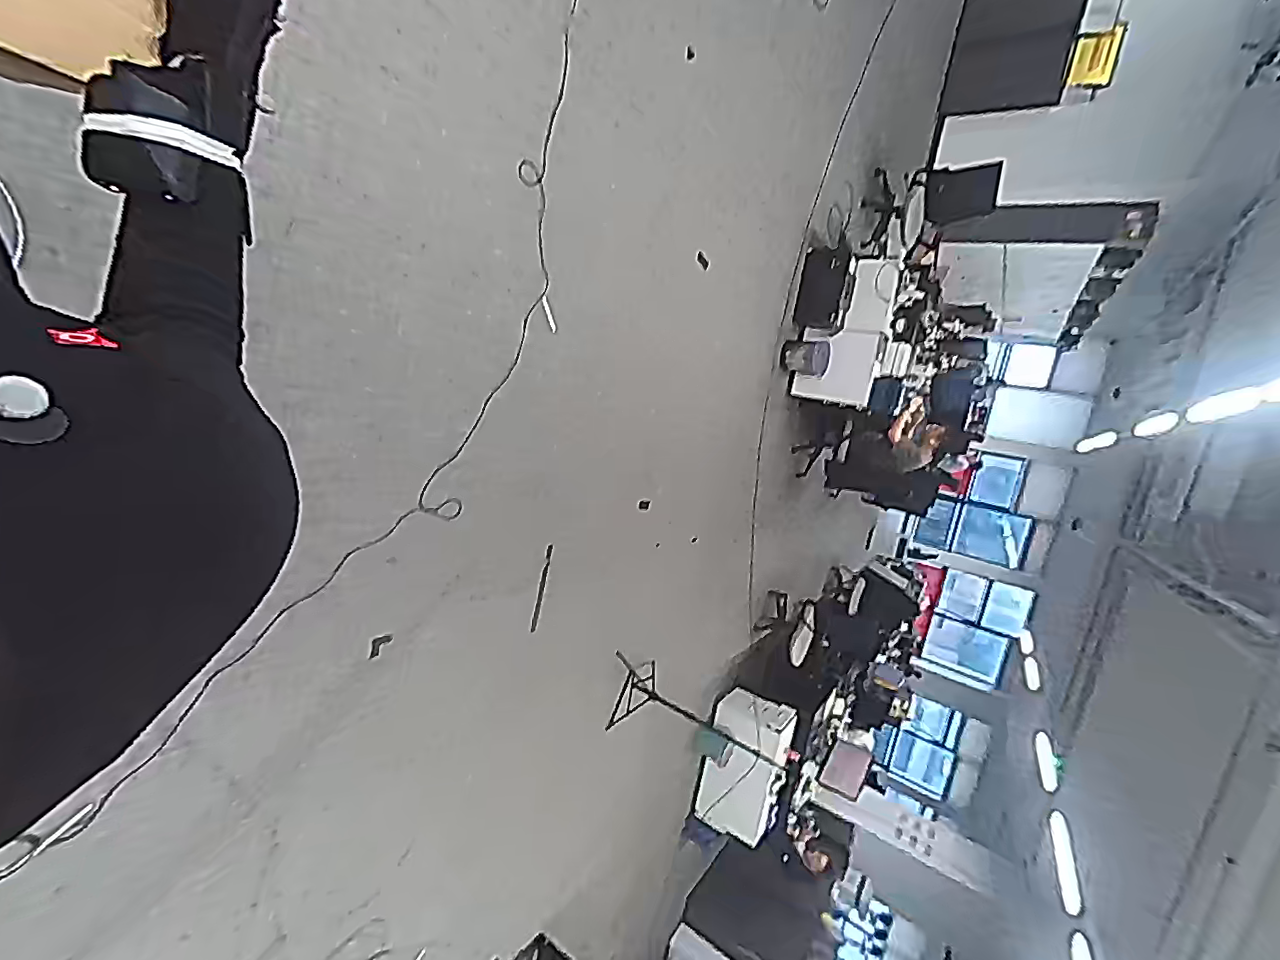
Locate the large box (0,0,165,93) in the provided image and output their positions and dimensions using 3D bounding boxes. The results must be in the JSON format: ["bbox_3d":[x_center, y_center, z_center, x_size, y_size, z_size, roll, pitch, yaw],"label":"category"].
[{"bbox_3d":[-0.513,-0.450,0.234,0.408,0.320,0.320,-8,121,-60],"label":"large box"}]
